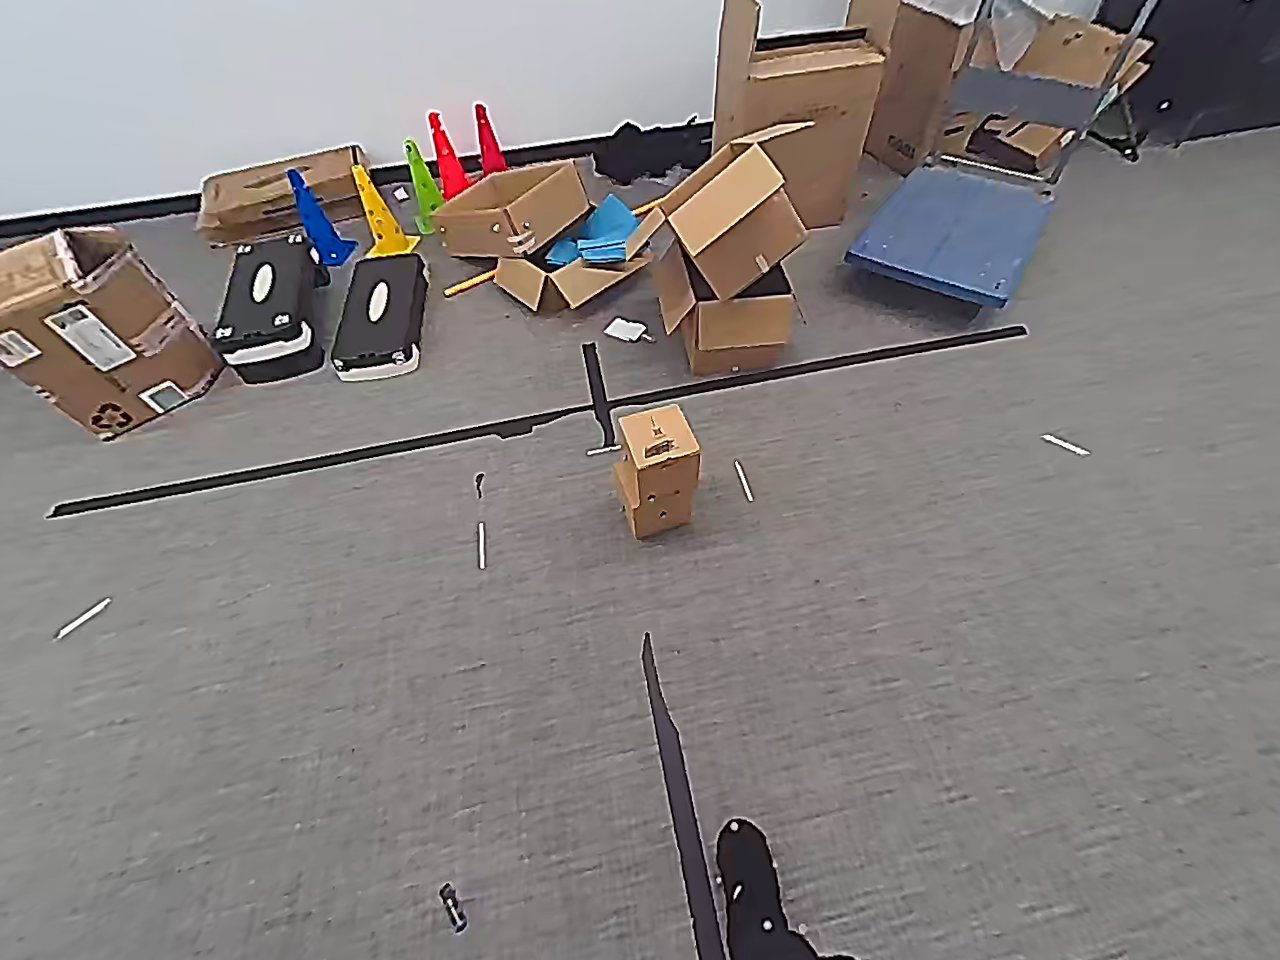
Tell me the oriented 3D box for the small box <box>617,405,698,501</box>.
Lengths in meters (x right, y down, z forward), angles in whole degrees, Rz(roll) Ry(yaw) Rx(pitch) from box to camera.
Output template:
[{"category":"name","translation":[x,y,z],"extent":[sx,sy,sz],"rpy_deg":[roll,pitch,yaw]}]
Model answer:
[{"category":"small box","translation":[0.047,-0.063,1.413],"extent":[0.168,0.176,0.179],"rpy_deg":[-15,54,-8]}]
